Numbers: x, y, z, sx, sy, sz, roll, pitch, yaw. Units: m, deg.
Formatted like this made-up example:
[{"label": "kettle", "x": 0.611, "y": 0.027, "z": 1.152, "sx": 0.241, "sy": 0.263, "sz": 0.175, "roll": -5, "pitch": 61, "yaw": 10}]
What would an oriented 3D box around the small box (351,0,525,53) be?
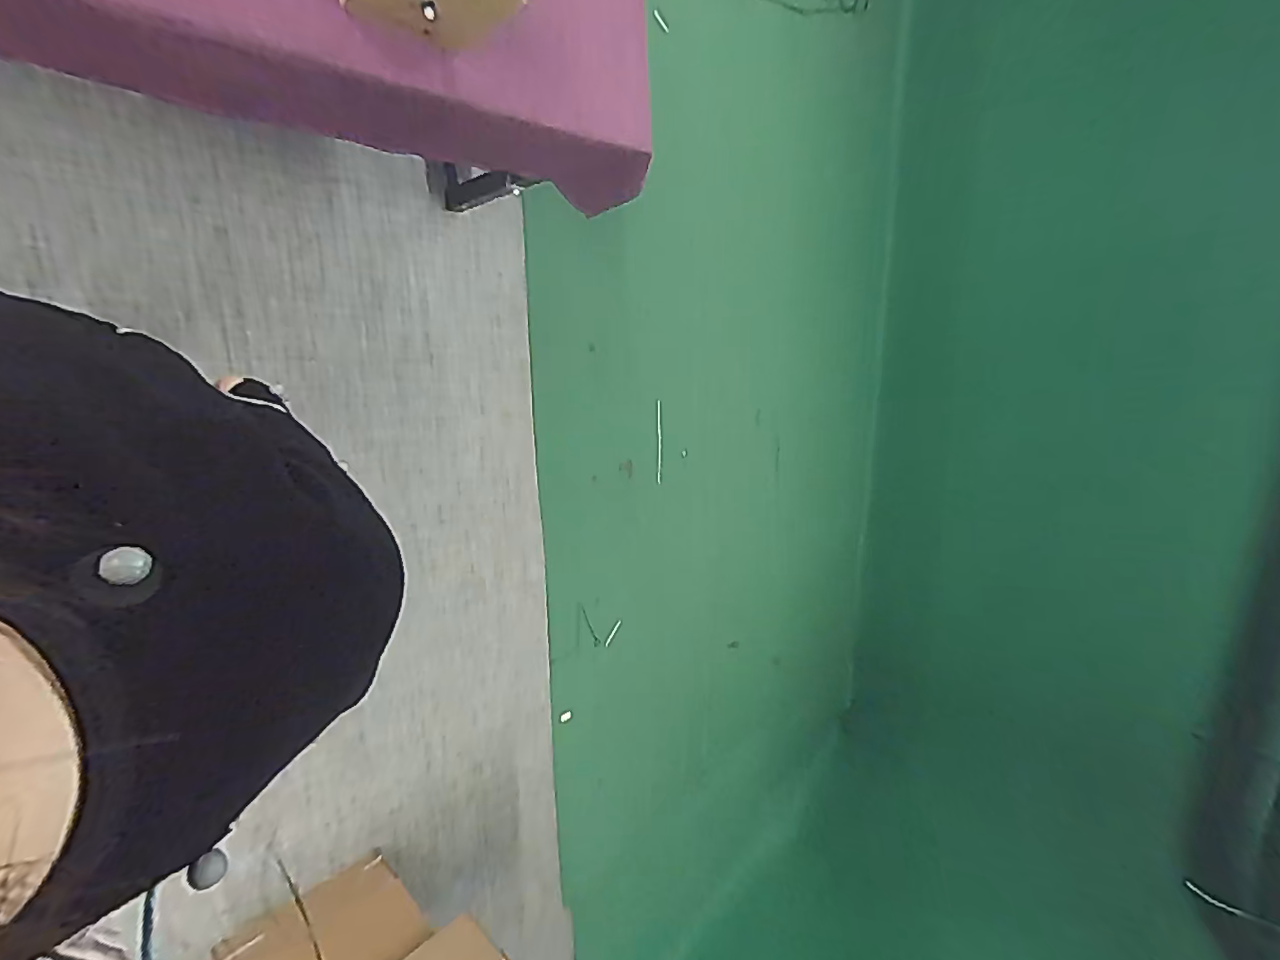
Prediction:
[{"label": "small box", "x": -0.262, "y": -0.670, "z": 0.658, "sx": 0.168, "sy": 0.176, "sz": 0.179, "roll": -16, "pitch": 109, "yaw": -45}]
